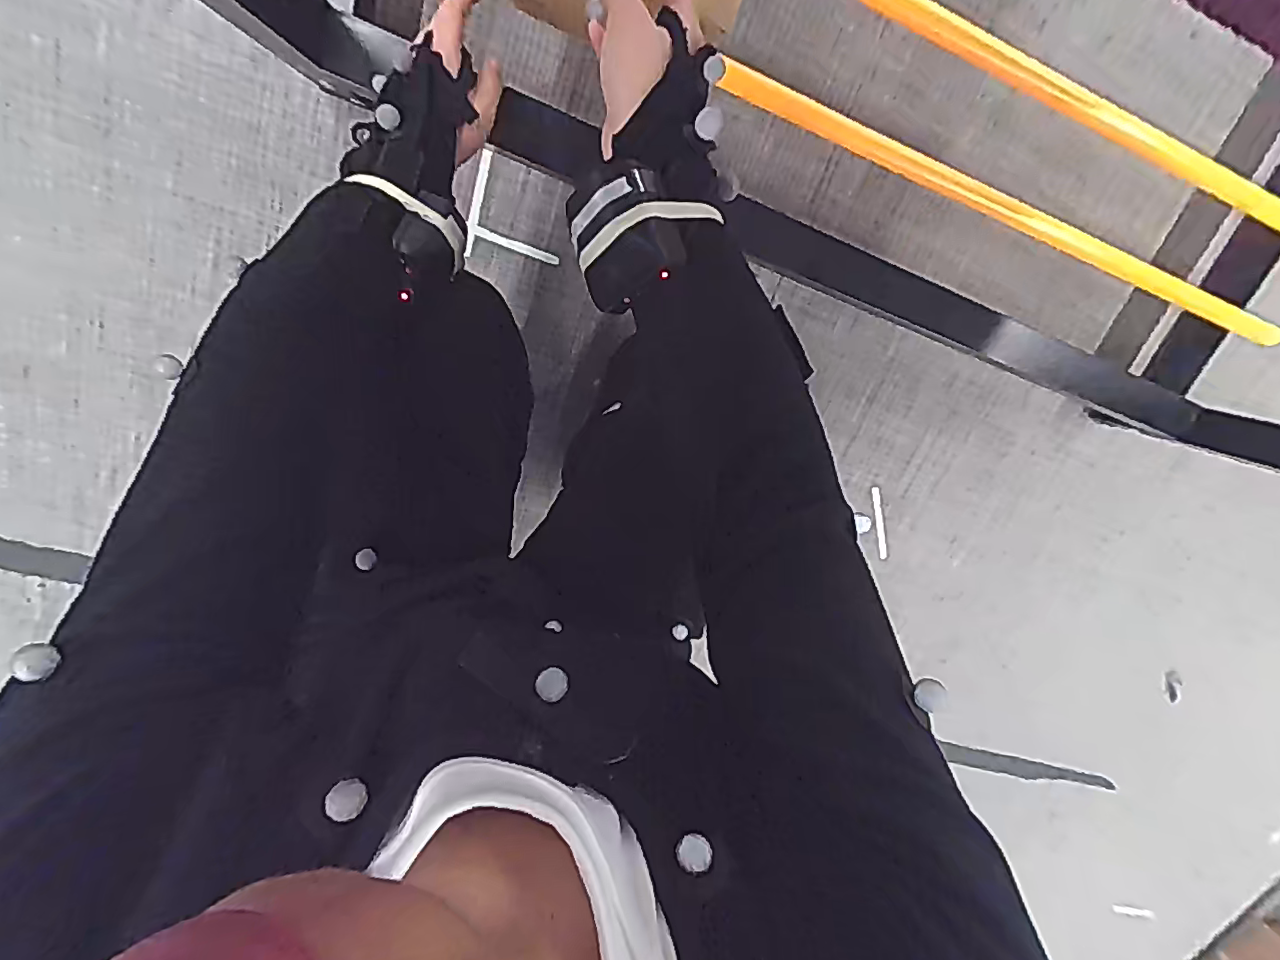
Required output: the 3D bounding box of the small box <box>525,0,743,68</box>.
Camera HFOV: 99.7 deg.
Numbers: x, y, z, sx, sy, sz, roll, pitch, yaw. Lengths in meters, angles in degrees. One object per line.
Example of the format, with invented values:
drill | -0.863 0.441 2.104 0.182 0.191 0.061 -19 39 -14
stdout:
small box | 0.004 -0.451 0.409 0.179 0.176 0.168 16 110 -14
